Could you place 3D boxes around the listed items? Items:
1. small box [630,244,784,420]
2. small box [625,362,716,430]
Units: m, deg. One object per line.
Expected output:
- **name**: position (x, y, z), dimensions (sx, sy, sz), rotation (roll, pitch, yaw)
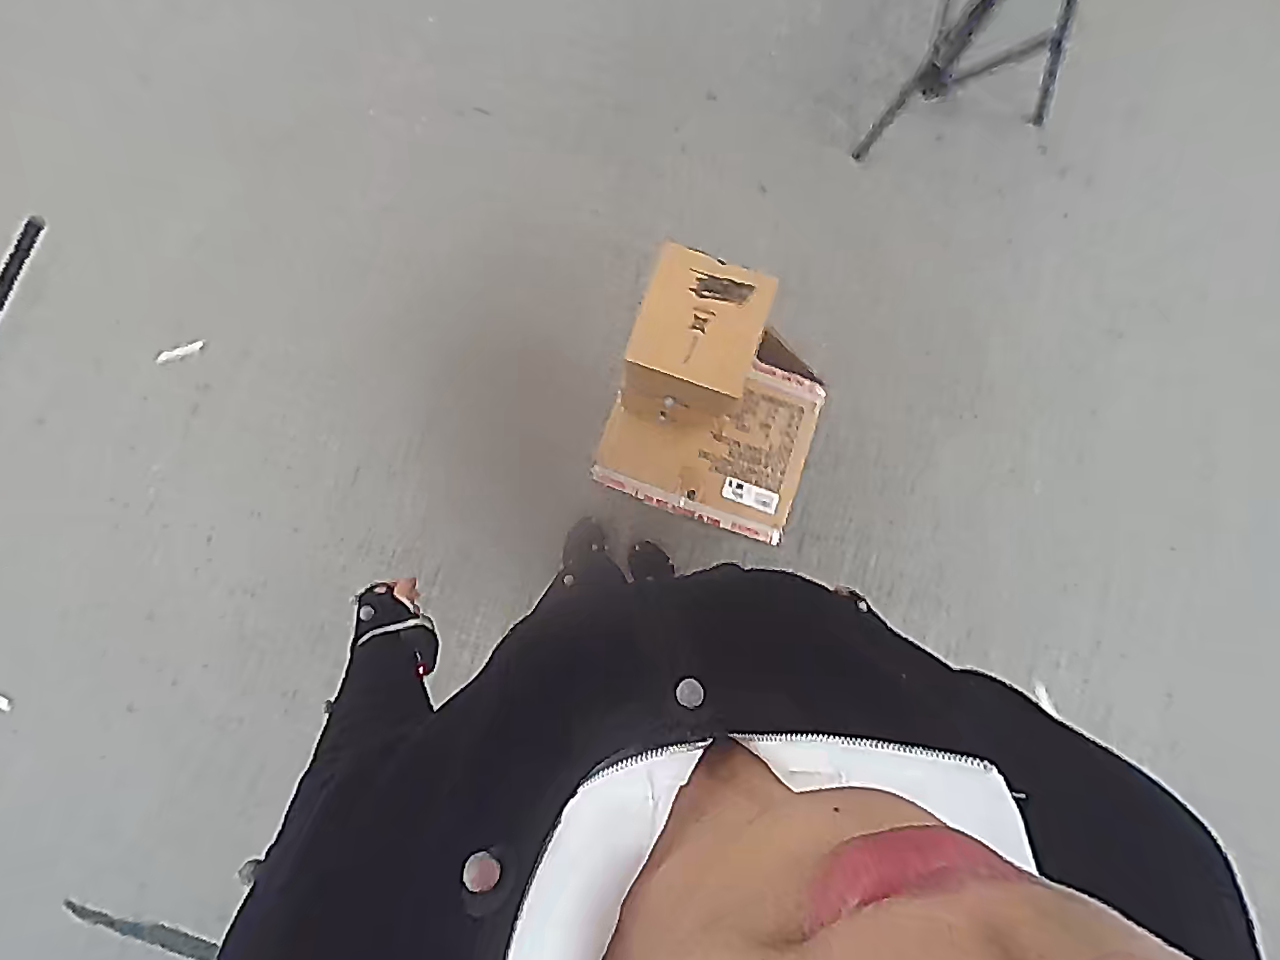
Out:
- **small box**: position (0.089, -0.206, 0.799), dimensions (0.168, 0.176, 0.179), rotation (20, 87, 2)
- **small box**: position (0.076, -0.203, 0.964), dimensions (0.168, 0.176, 0.179), rotation (16, 87, 2)
